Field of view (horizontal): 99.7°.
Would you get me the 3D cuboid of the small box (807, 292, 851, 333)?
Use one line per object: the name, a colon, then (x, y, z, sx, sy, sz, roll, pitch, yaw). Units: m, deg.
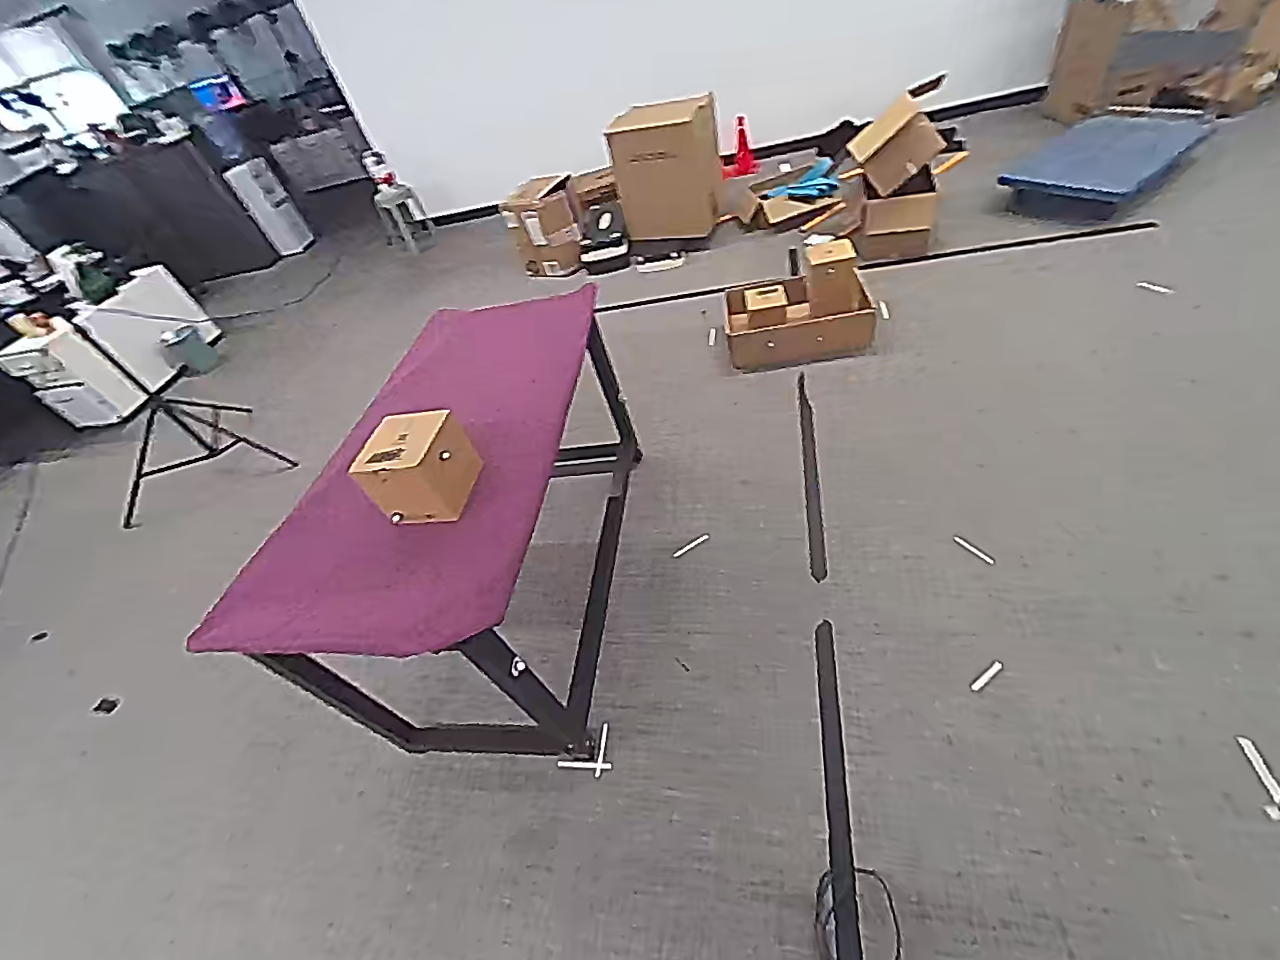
small box: (0.845, -0.776, 2.422, 0.168, 0.176, 0.179, -6, 45, 12)

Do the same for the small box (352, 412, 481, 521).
small box: (-0.472, -0.022, 1.175, 0.168, 0.176, 0.179, -4, 46, 15)

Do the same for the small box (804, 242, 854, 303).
small box: (0.803, -0.883, 2.307, 0.179, 0.176, 0.168, -8, 46, 13)
